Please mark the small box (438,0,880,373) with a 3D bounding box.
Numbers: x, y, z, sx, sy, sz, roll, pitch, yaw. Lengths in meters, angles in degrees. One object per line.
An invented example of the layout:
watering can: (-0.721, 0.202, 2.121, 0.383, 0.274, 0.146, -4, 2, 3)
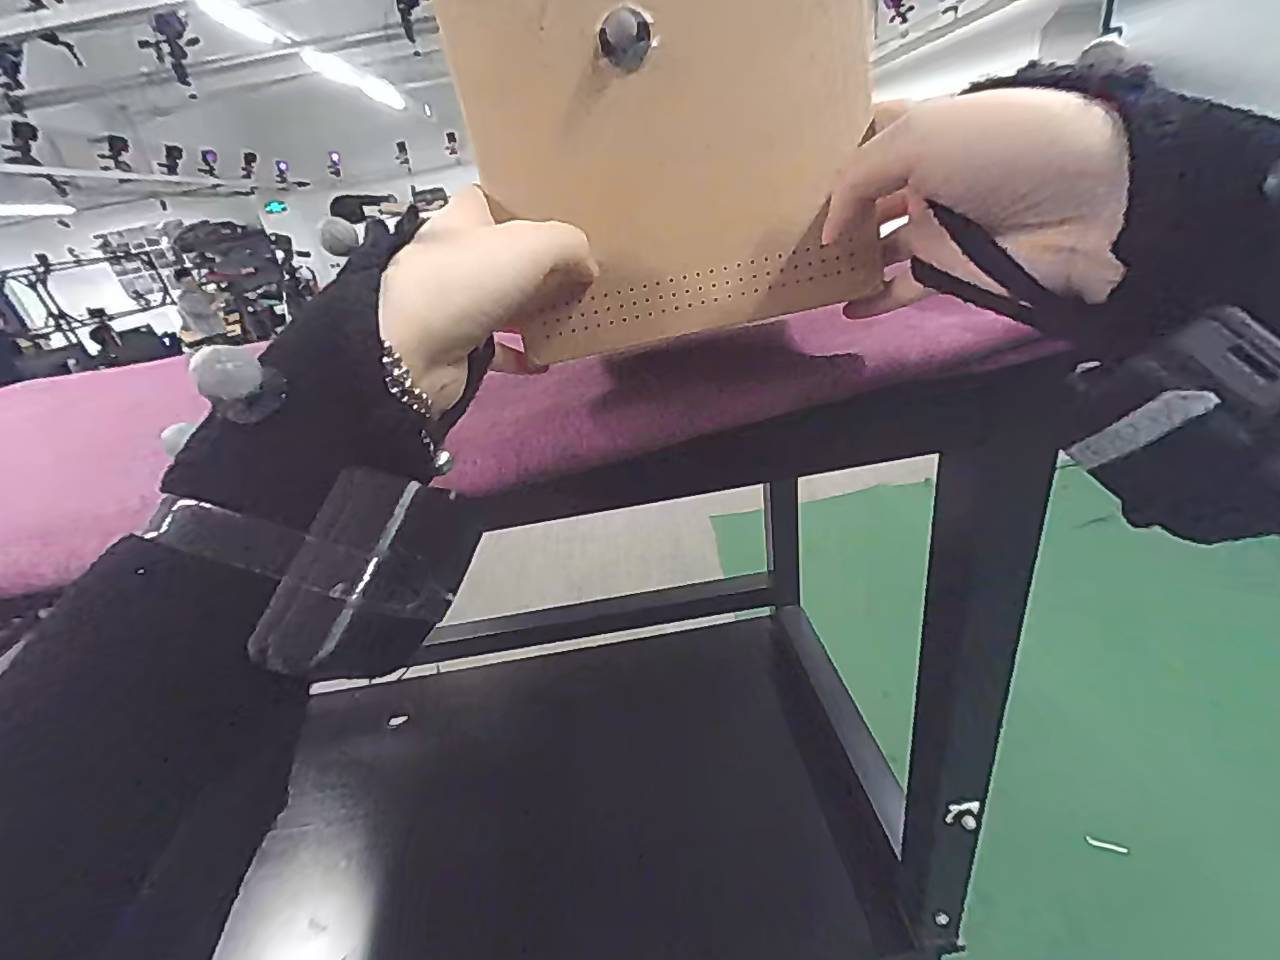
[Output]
small box: (0.019, -0.164, 0.312, 0.179, 0.176, 0.168, -10, 18, 5)
